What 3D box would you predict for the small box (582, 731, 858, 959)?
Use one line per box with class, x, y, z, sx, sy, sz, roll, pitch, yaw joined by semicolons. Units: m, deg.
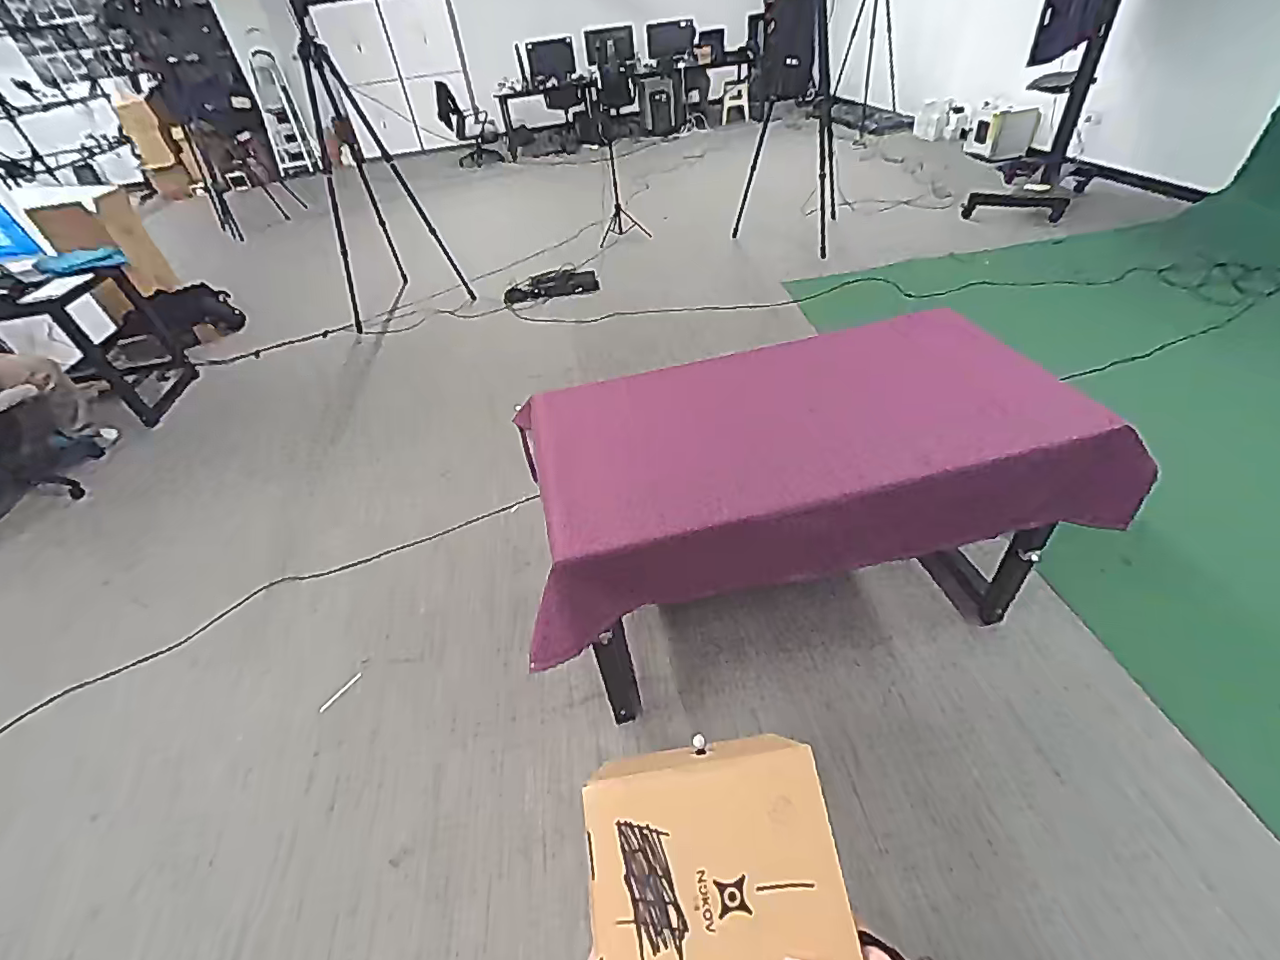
small box;0.056;0.313;0.453;0.179;0.176;0.168;-9;68;-1
